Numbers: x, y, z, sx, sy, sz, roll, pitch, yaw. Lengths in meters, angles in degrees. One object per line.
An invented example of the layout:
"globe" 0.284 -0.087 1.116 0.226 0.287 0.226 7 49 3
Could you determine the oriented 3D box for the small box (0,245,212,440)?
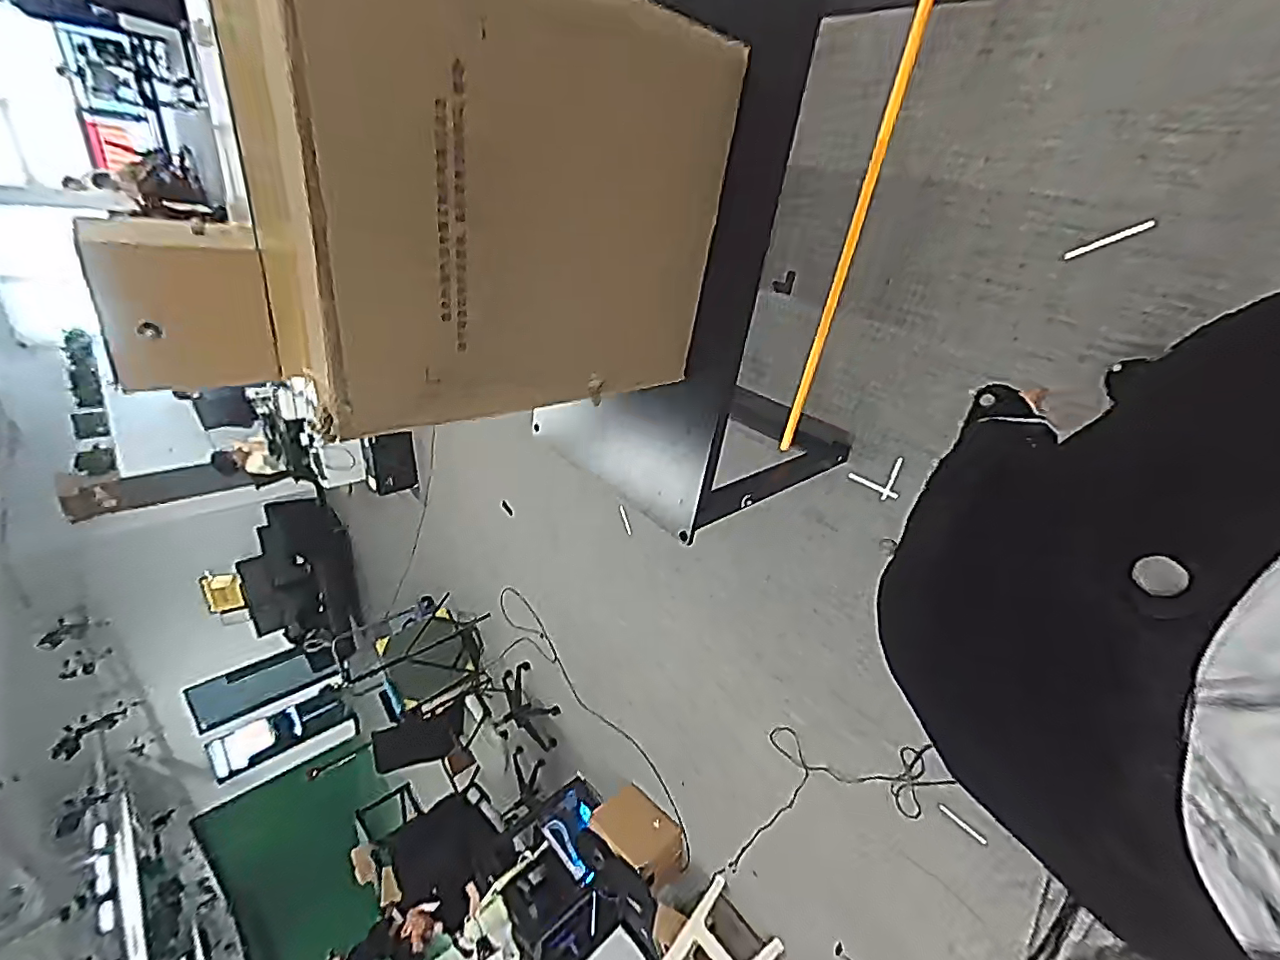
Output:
"small box" -0.643 -0.171 0.649 0.168 0.176 0.179 36 127 37
